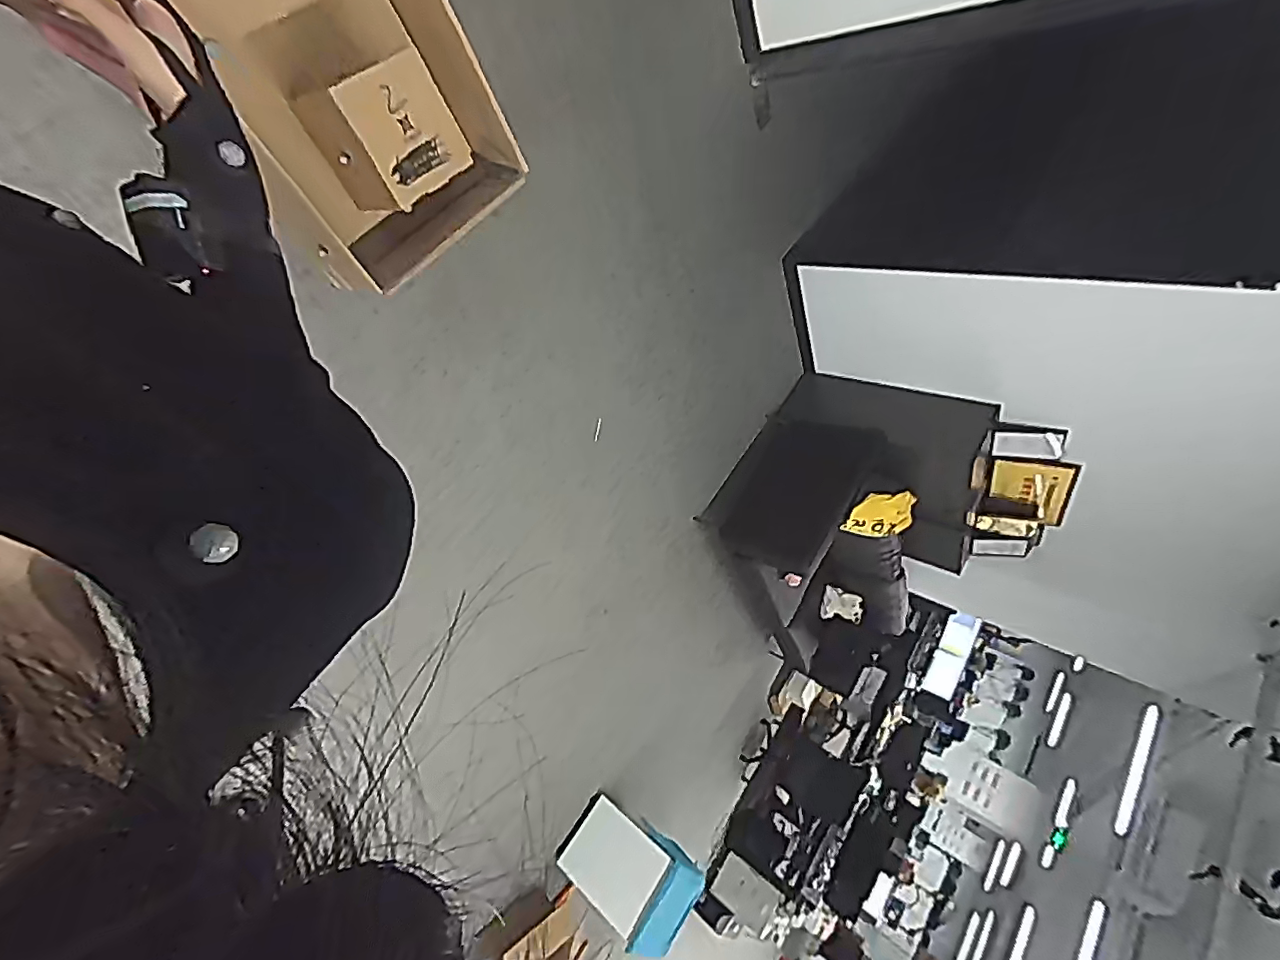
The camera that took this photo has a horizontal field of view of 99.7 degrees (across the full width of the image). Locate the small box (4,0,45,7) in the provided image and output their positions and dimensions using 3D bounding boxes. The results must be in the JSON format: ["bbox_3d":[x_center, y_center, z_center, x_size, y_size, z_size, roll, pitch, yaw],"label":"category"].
[{"bbox_3d":[-0.442,-0.424,0.304,0.168,0.176,0.179,7,108,-50],"label":"small box"}]
